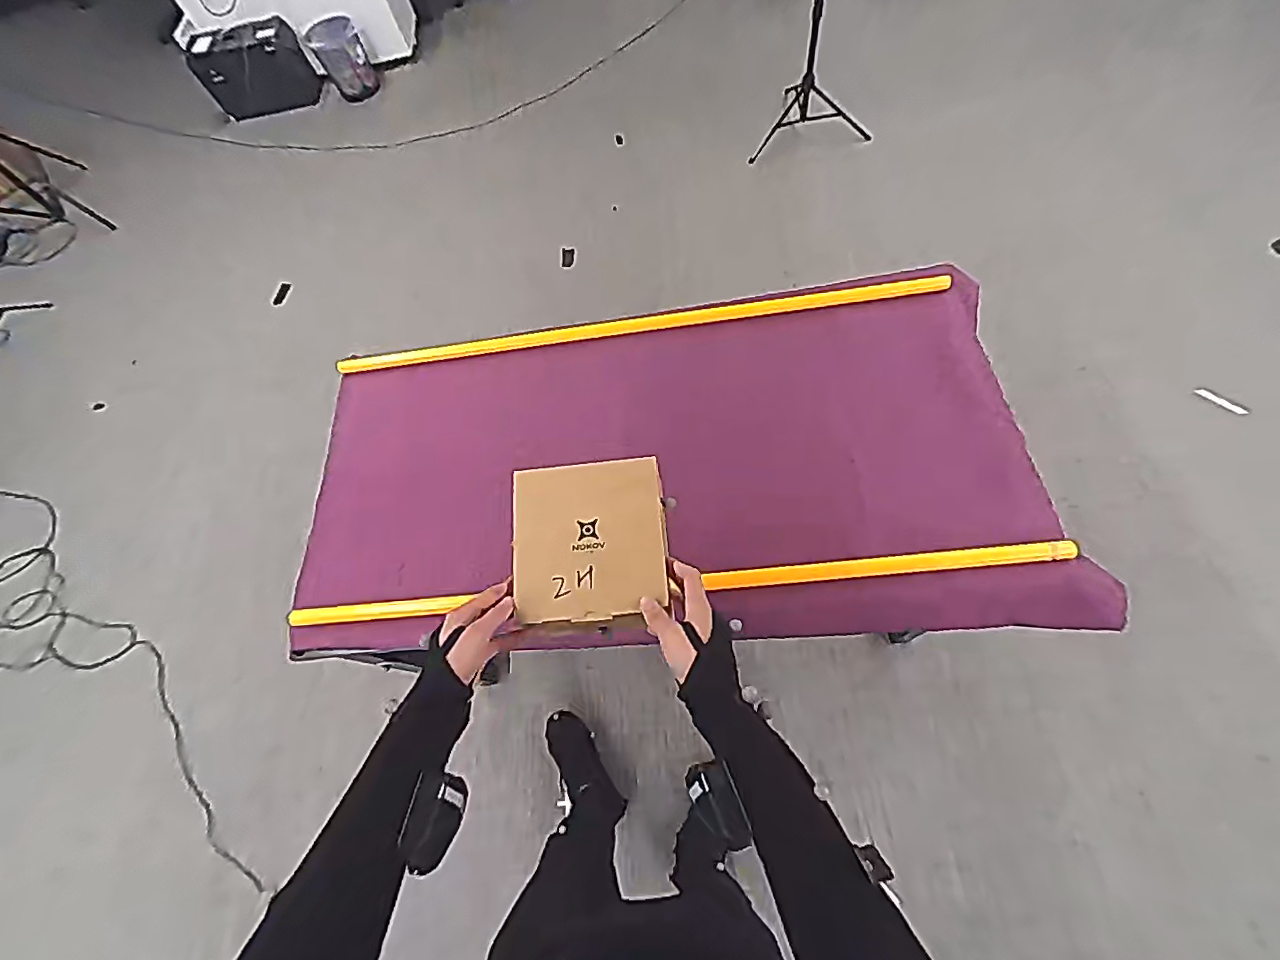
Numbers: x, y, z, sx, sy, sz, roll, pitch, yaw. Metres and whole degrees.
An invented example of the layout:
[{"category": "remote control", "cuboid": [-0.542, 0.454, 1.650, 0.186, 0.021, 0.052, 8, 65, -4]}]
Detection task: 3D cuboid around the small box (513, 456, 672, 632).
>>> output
[{"category": "small box", "cuboid": [-0.050, 0.087, 0.666, 0.168, 0.176, 0.179, -6, 71, 4]}]
